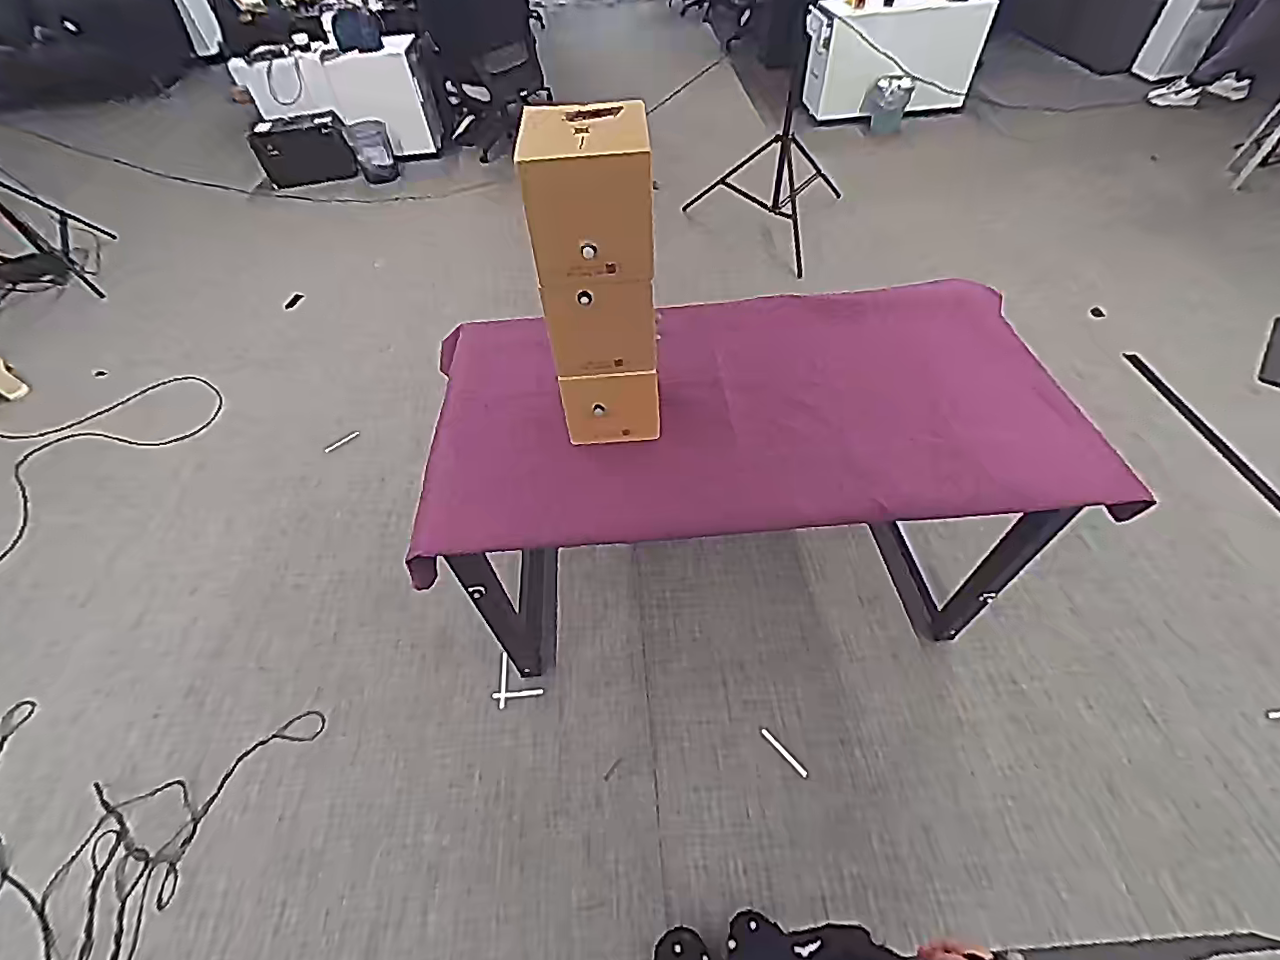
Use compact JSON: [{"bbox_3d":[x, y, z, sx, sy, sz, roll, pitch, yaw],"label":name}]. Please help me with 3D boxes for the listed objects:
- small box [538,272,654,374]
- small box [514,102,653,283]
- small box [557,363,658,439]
[{"bbox_3d":[-0.065,-0.296,0.883,0.168,0.176,0.179,-5,50,0],"label":"small box"},{"bbox_3d":[-0.068,-0.397,0.753,0.168,0.176,0.179,-4,52,1],"label":"small box"},{"bbox_3d":[-0.055,-0.189,1.007,0.168,0.176,0.179,-4,51,1],"label":"small box"}]
